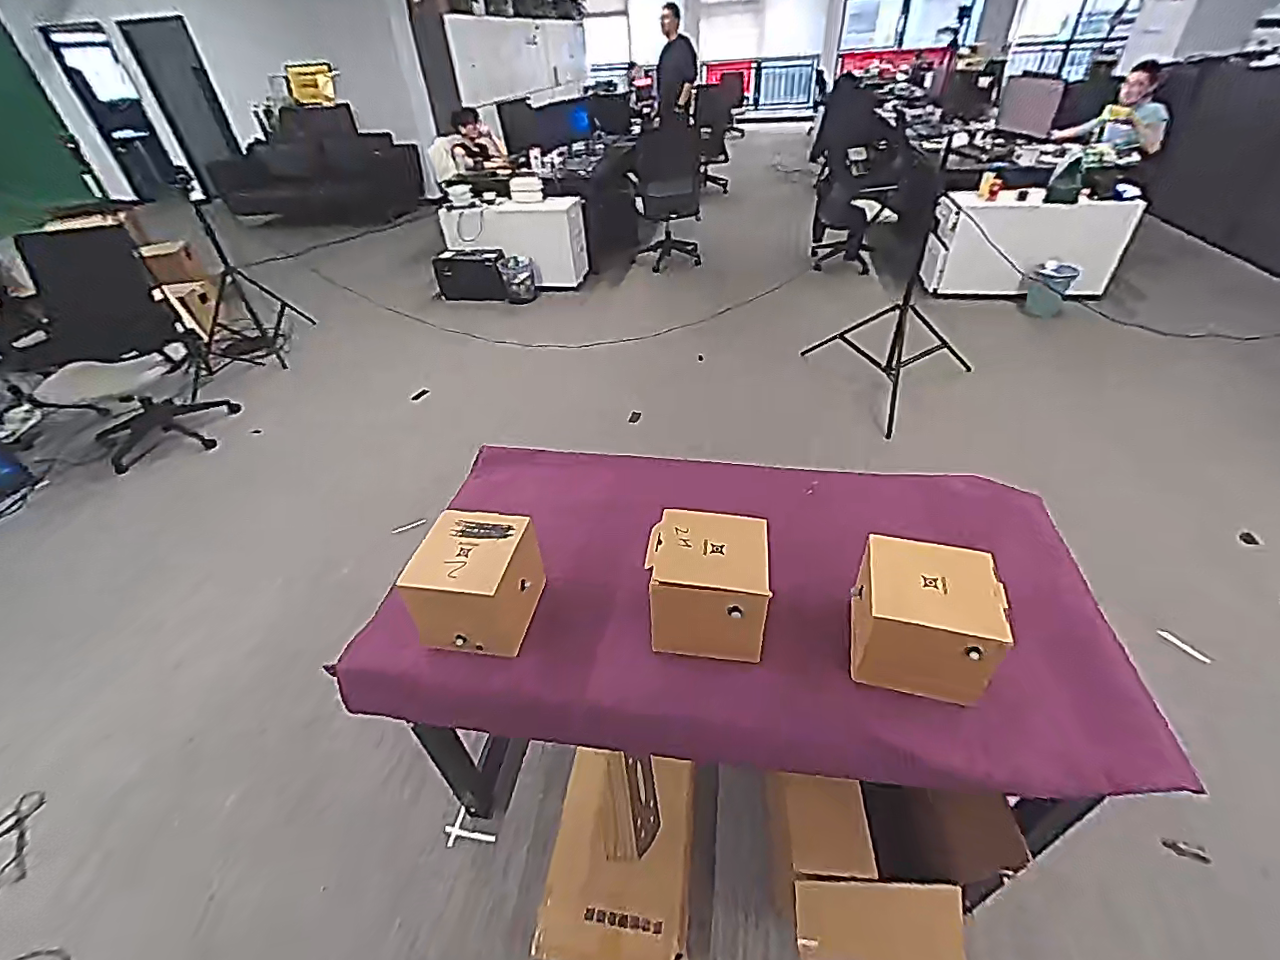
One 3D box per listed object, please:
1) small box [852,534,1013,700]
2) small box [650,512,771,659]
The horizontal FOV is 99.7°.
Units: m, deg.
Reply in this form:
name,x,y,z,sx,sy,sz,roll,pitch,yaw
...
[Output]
name,x,y,z,sx,sy,sz,roll,pitch,yaw
small box,0.426,0.208,0.824,0.179,0.176,0.168,8,41,14
small box,0.117,0.174,0.892,0.179,0.176,0.168,3,37,9
